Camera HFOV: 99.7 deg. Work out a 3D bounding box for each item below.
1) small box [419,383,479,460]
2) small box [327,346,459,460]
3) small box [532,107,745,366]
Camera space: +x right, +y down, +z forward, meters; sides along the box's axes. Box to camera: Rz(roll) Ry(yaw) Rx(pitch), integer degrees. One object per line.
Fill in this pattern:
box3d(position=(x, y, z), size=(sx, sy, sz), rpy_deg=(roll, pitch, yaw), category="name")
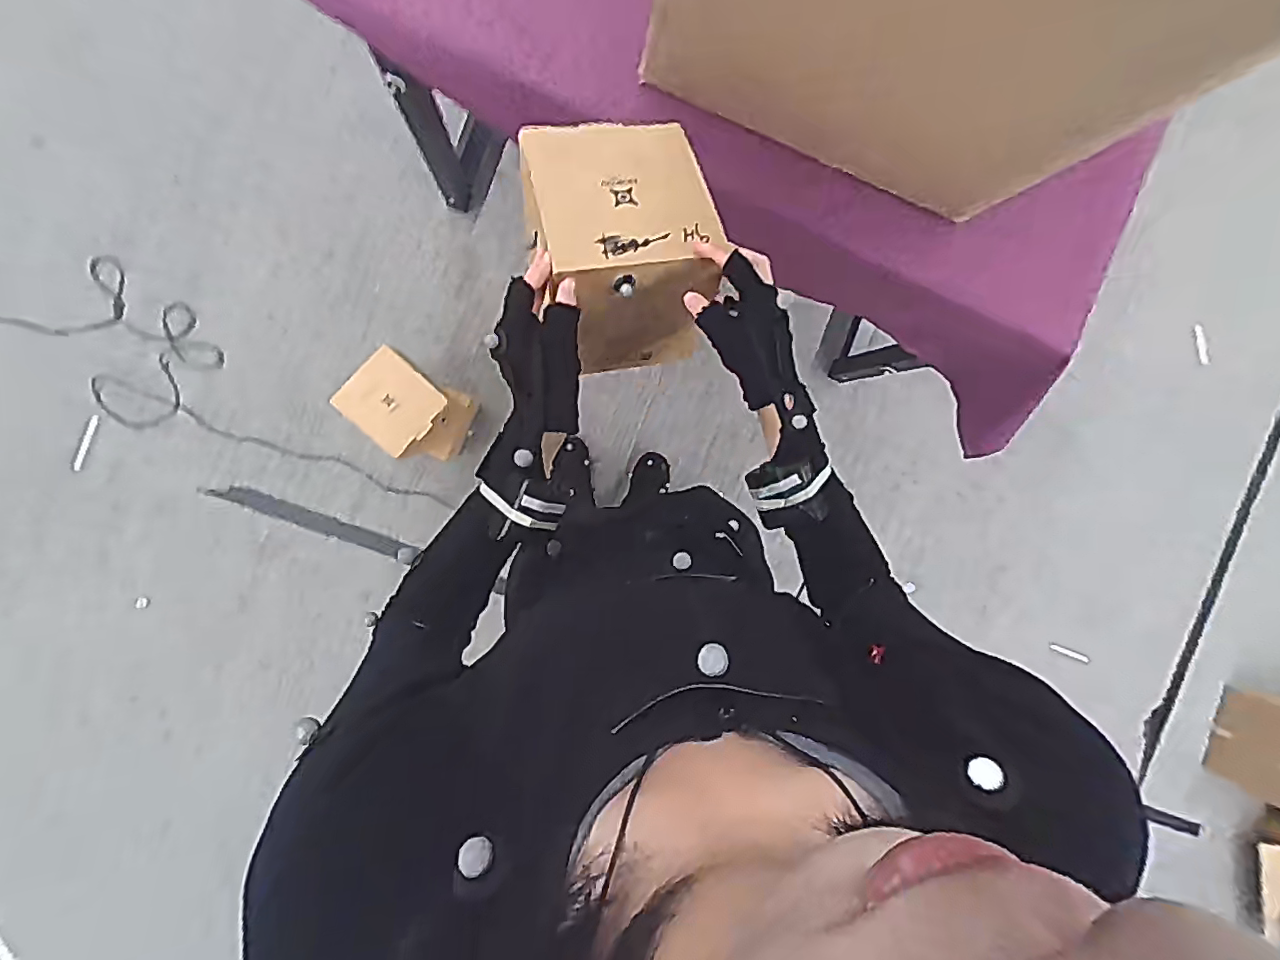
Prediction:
box3d(position=(-0.521, -0.157, 1.341), size=(0.179, 0.176, 0.168), rpy_deg=(23, 91, -9), category="small box")
box3d(position=(-0.522, -0.163, 1.176), size=(0.179, 0.176, 0.168), rpy_deg=(42, 87, -8), category="small box")
box3d(position=(-0.016, -0.242, 0.555), size=(0.168, 0.176, 0.179), rpy_deg=(-10, 70, -12), category="small box")
